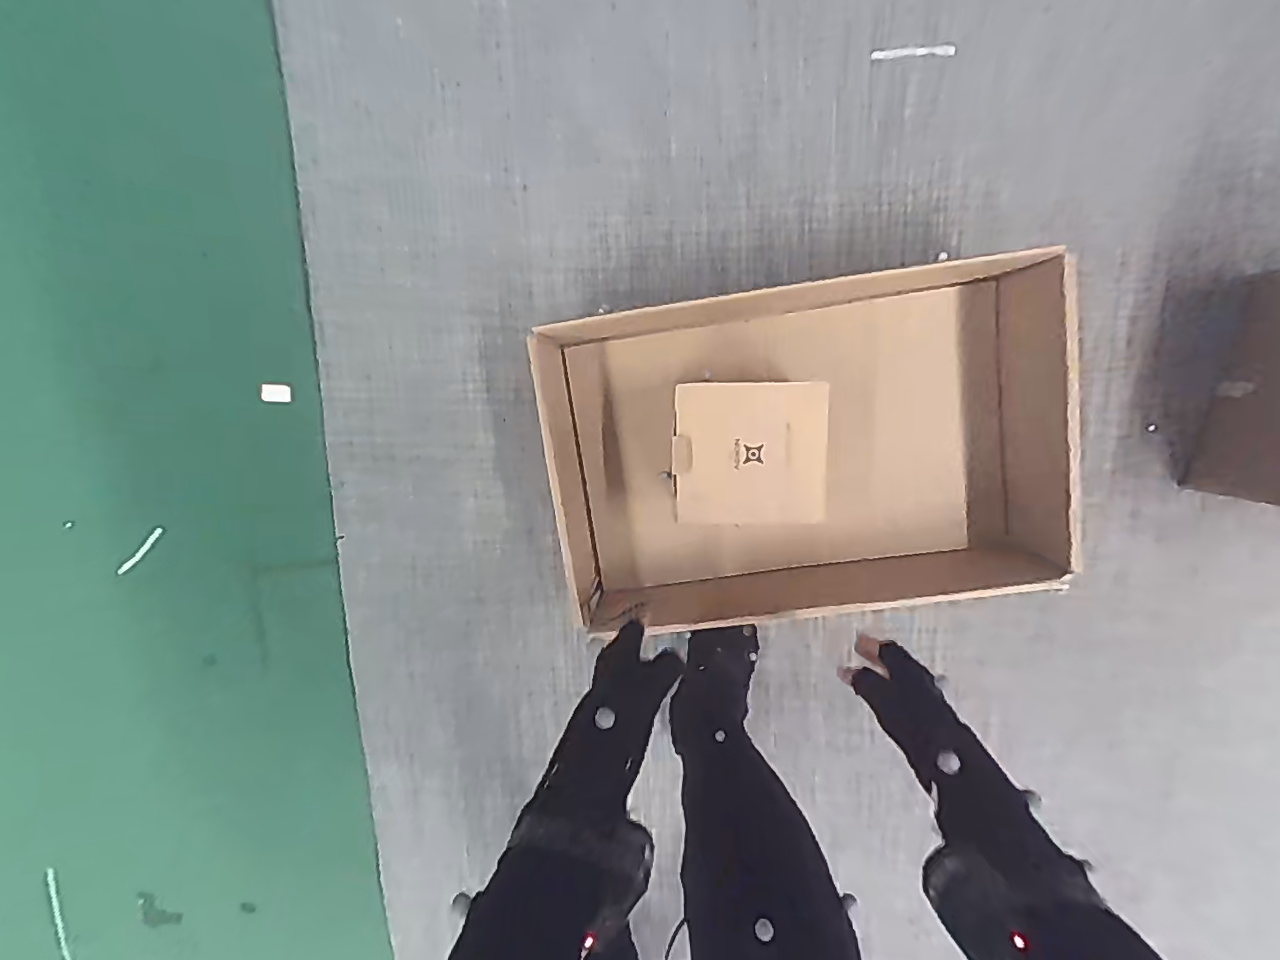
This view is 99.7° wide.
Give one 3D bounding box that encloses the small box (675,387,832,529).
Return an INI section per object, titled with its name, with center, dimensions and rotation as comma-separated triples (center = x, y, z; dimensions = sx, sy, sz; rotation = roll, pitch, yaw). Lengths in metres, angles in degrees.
[small box]
center = 0.134, -0.035, 0.704
dimensions = 0.179, 0.176, 0.168
rotation = -1, 100, 1
